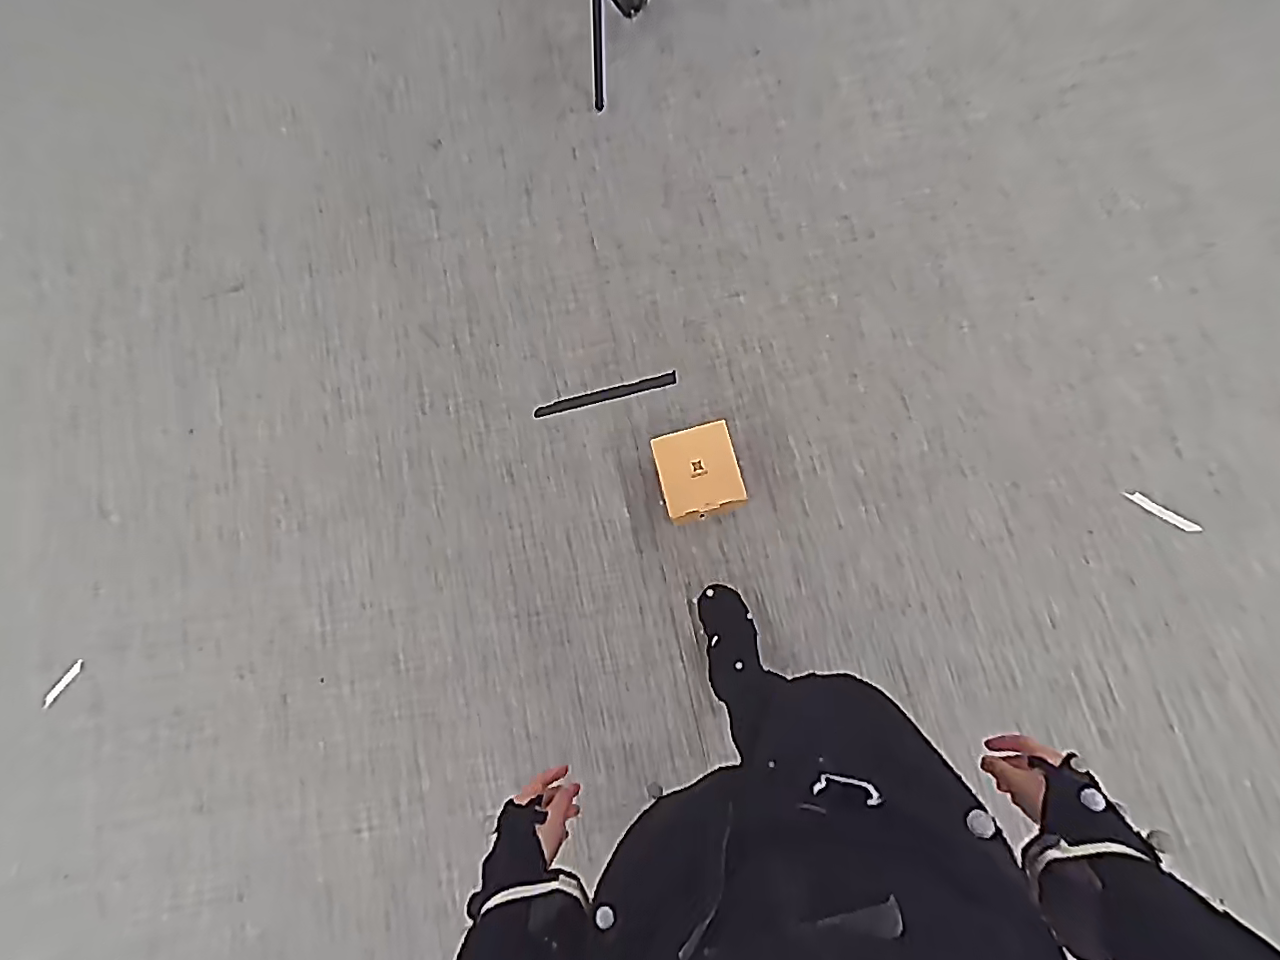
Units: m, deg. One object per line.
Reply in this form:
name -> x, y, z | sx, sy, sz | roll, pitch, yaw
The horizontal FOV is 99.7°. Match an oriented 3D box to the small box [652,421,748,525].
small box -> 0.128, -0.009, 1.200 | 0.168, 0.176, 0.179 | -15, 80, 3
